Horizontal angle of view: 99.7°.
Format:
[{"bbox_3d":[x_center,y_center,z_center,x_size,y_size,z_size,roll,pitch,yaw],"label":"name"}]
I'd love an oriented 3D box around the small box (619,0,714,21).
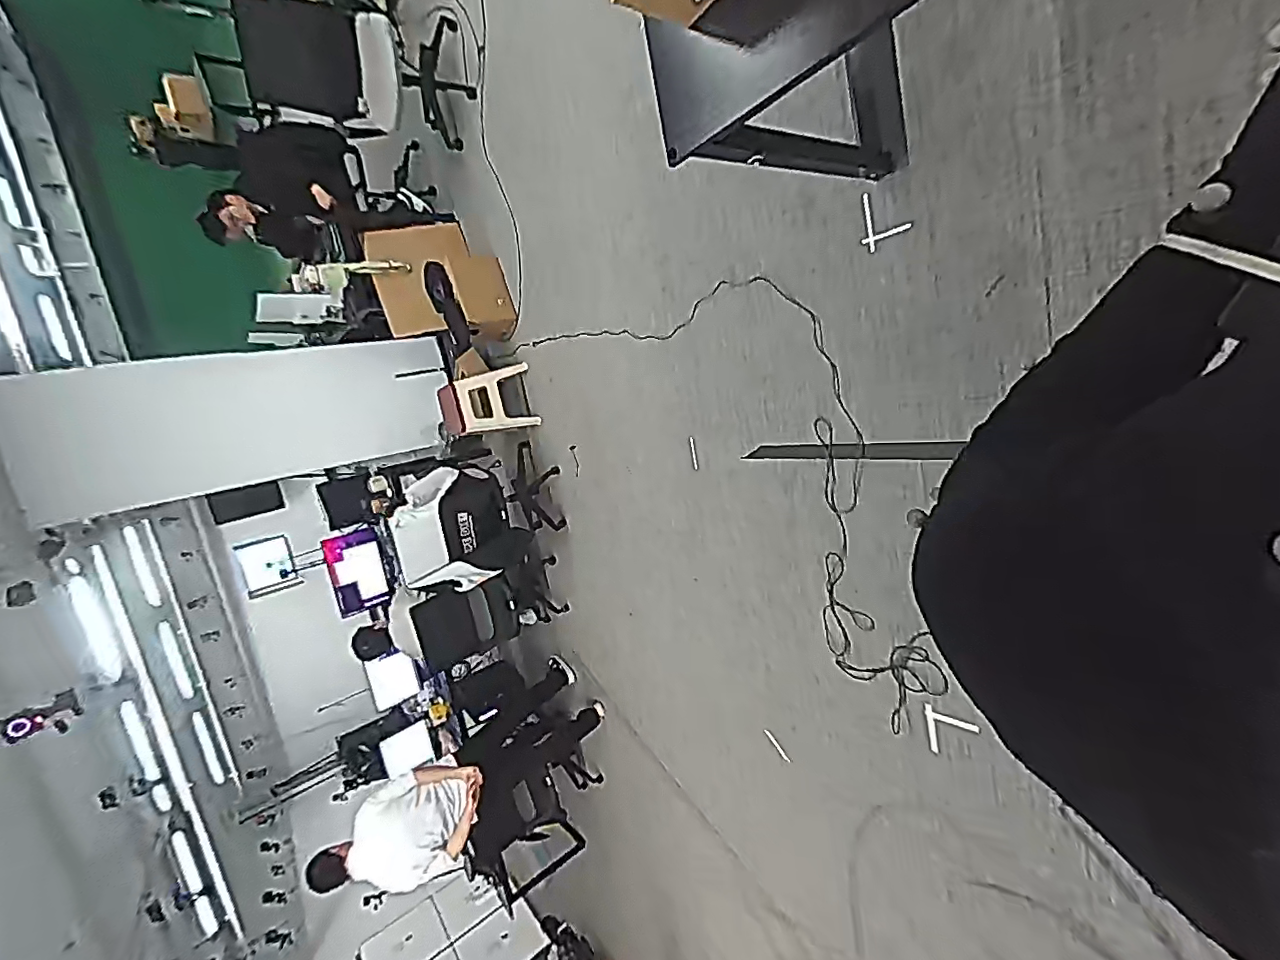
[{"bbox_3d":[0.049,-0.842,0.806,0.168,0.176,0.179,-2,104,54],"label":"small box"}]
